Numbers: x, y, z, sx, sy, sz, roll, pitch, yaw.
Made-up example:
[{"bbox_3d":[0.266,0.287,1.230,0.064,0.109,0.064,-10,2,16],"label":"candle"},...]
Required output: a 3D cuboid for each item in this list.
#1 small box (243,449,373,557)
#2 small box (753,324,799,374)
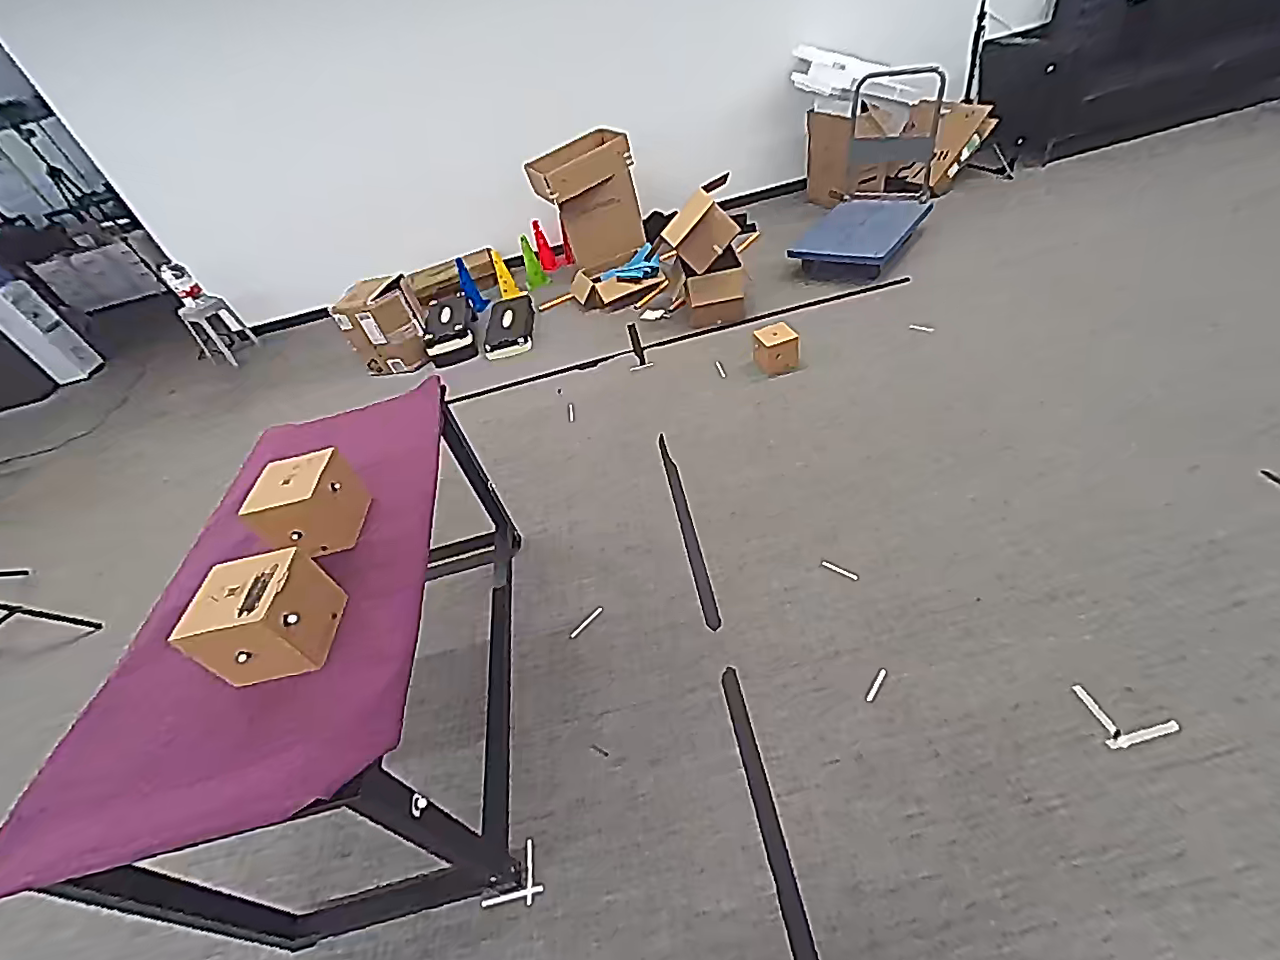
[{"bbox_3d":[-0.747,0.059,1.243,0.168,0.176,0.179,-13,41,3],"label":"small box"},{"bbox_3d":[0.679,-0.644,2.684,0.168,0.176,0.179,-19,41,-4],"label":"small box"}]
